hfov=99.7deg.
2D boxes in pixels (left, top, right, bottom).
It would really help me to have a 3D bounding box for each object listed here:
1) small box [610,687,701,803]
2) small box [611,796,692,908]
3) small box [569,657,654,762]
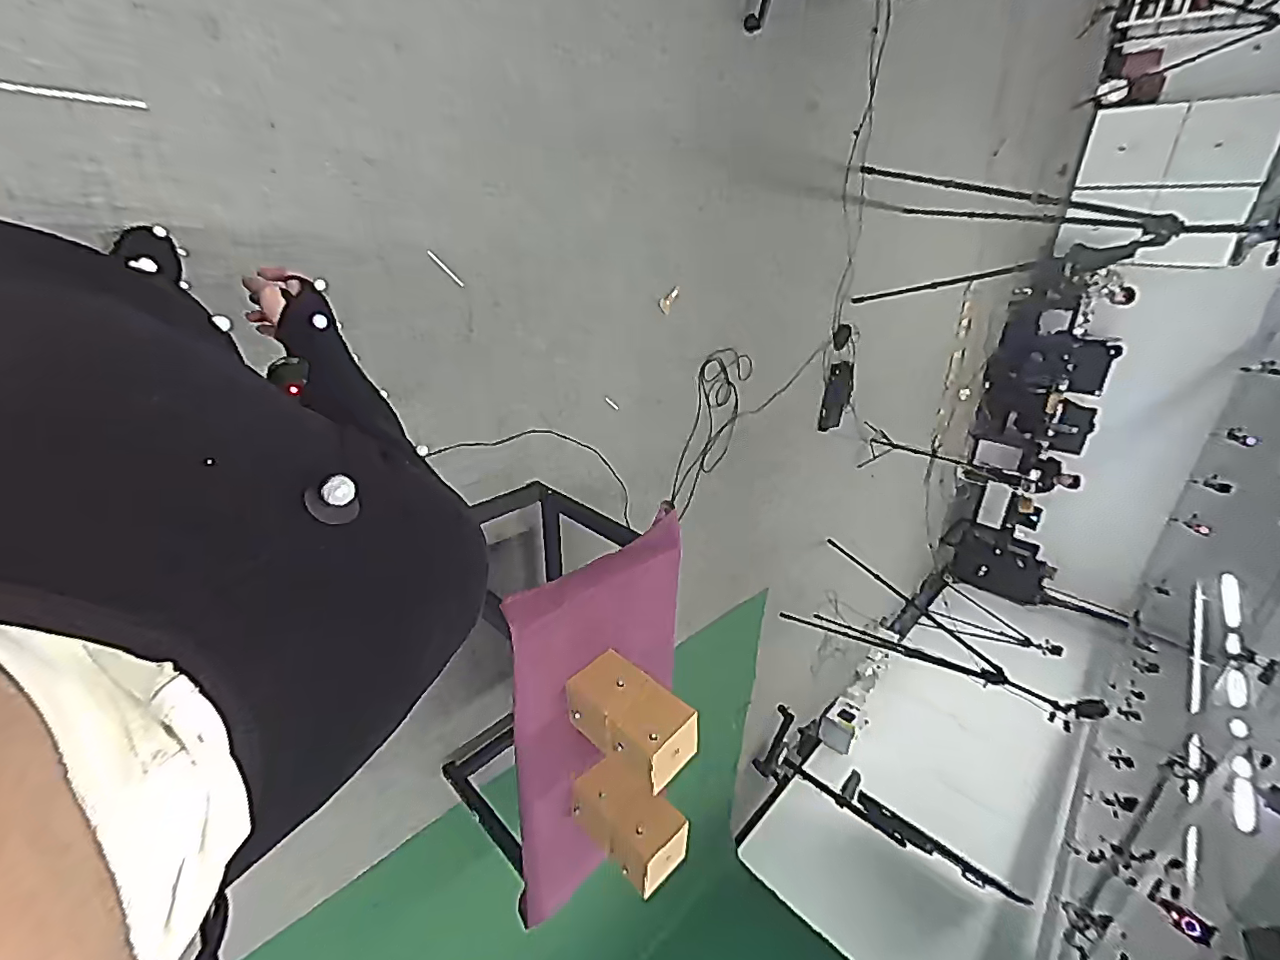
[{"bbox_3d":[0.041,0.684,1.418,0.179,0.176,0.168,-28,127,-37],"label":"small box"},{"bbox_3d":[0.030,1.077,1.584,0.179,0.176,0.168,-18,120,-42],"label":"small box"},{"bbox_3d":[-0.077,0.635,1.518,0.179,0.176,0.168,-25,124,-39],"label":"small box"}]
